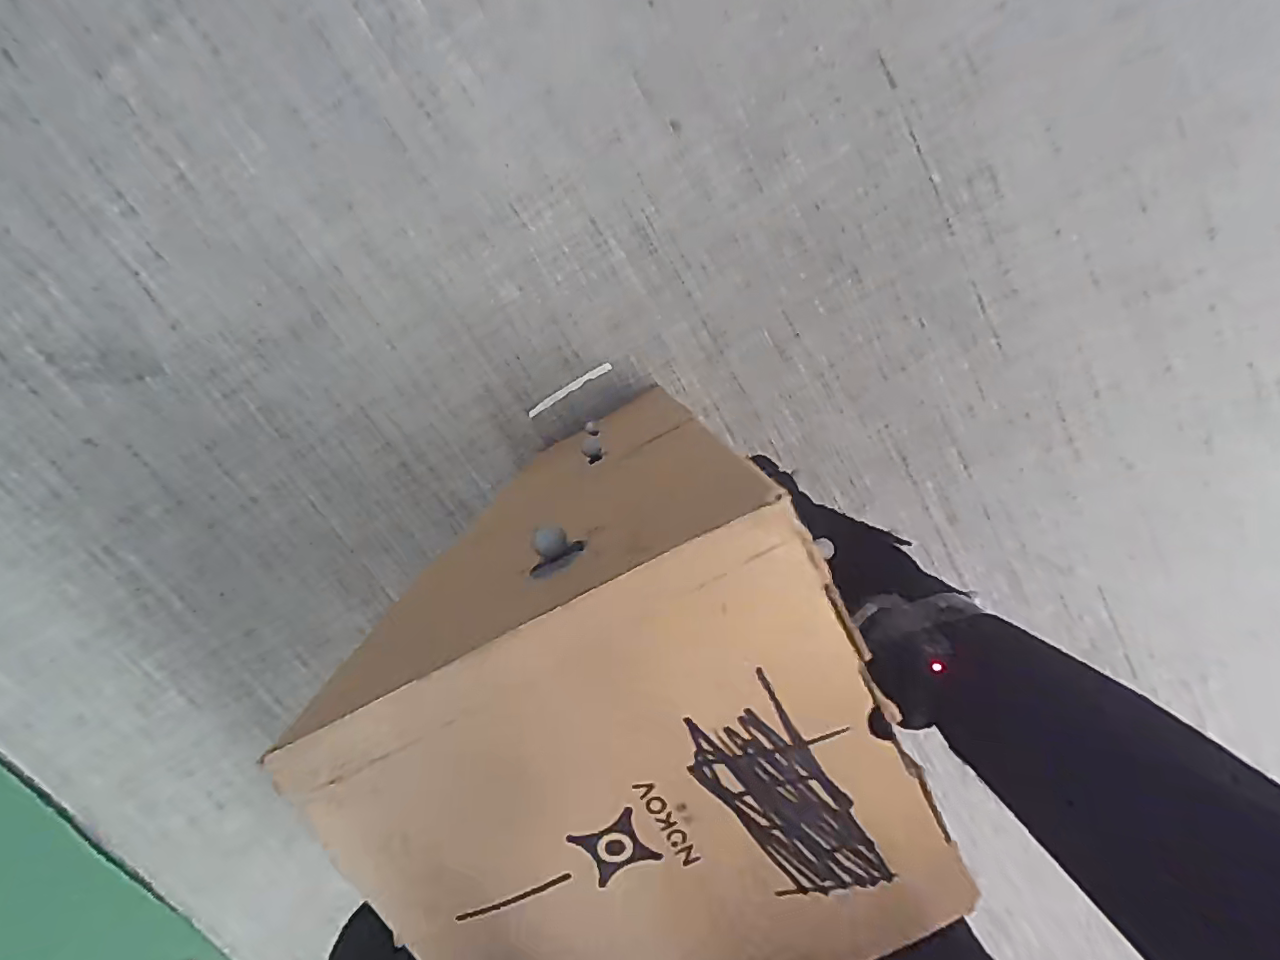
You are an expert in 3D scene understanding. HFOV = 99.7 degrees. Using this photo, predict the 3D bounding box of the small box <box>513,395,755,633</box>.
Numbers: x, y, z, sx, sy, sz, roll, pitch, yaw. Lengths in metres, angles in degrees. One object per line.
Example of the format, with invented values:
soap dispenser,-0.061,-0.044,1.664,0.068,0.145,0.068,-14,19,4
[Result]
small box,-0.006,0.022,0.576,0.179,0.176,0.168,-29,102,6
